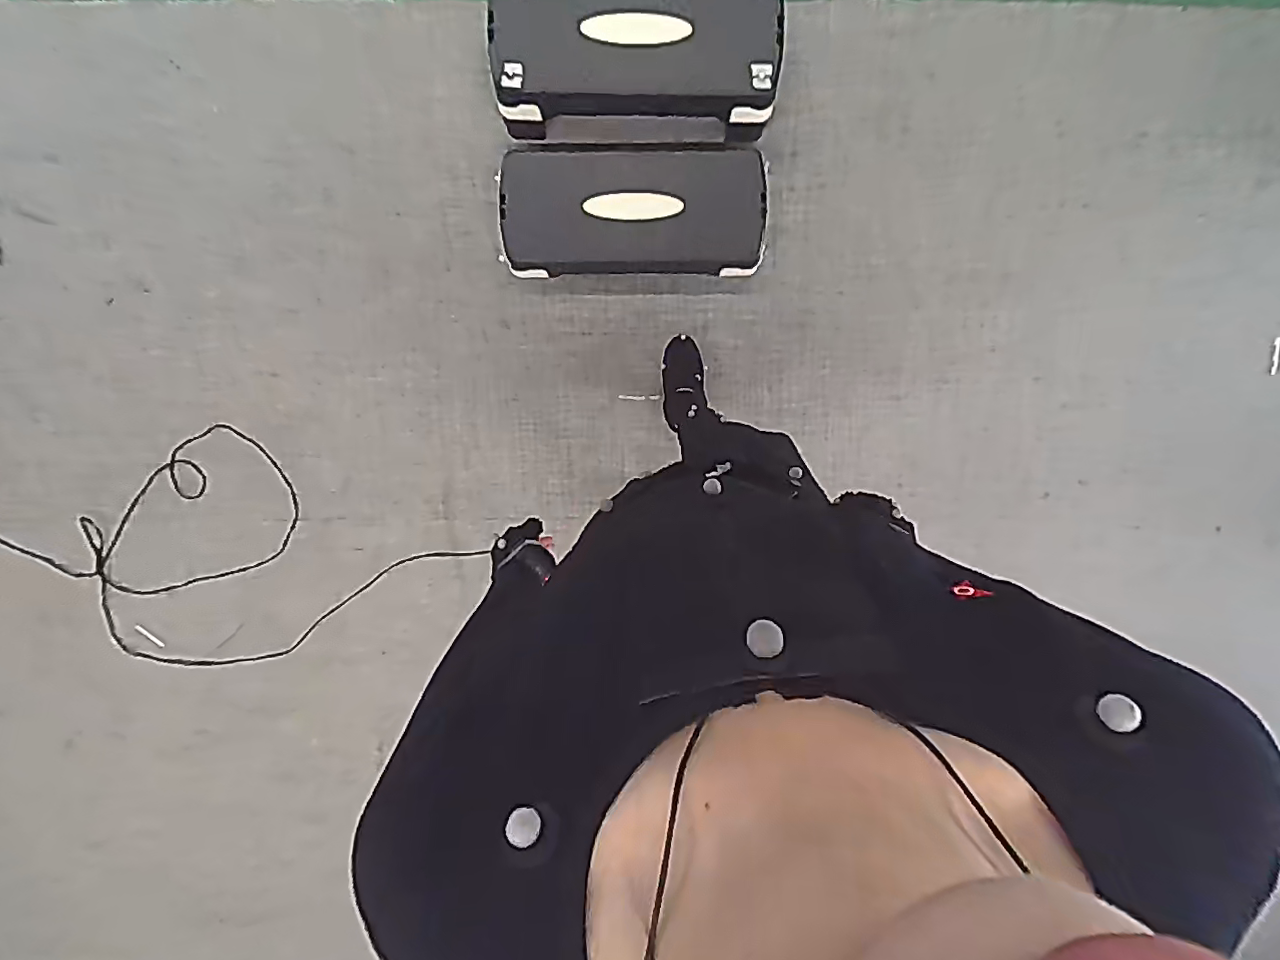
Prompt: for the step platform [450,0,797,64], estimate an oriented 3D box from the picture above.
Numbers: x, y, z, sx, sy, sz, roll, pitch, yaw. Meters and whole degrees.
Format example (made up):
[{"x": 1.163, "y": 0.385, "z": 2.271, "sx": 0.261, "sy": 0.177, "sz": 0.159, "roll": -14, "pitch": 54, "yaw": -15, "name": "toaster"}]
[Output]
[{"x": -0.033, "y": -1.022, "z": 1.065, "sx": 0.684, "sy": 0.204, "sz": 0.286, "roll": 0, "pitch": 97, "yaw": 0, "name": "step platform"}]
